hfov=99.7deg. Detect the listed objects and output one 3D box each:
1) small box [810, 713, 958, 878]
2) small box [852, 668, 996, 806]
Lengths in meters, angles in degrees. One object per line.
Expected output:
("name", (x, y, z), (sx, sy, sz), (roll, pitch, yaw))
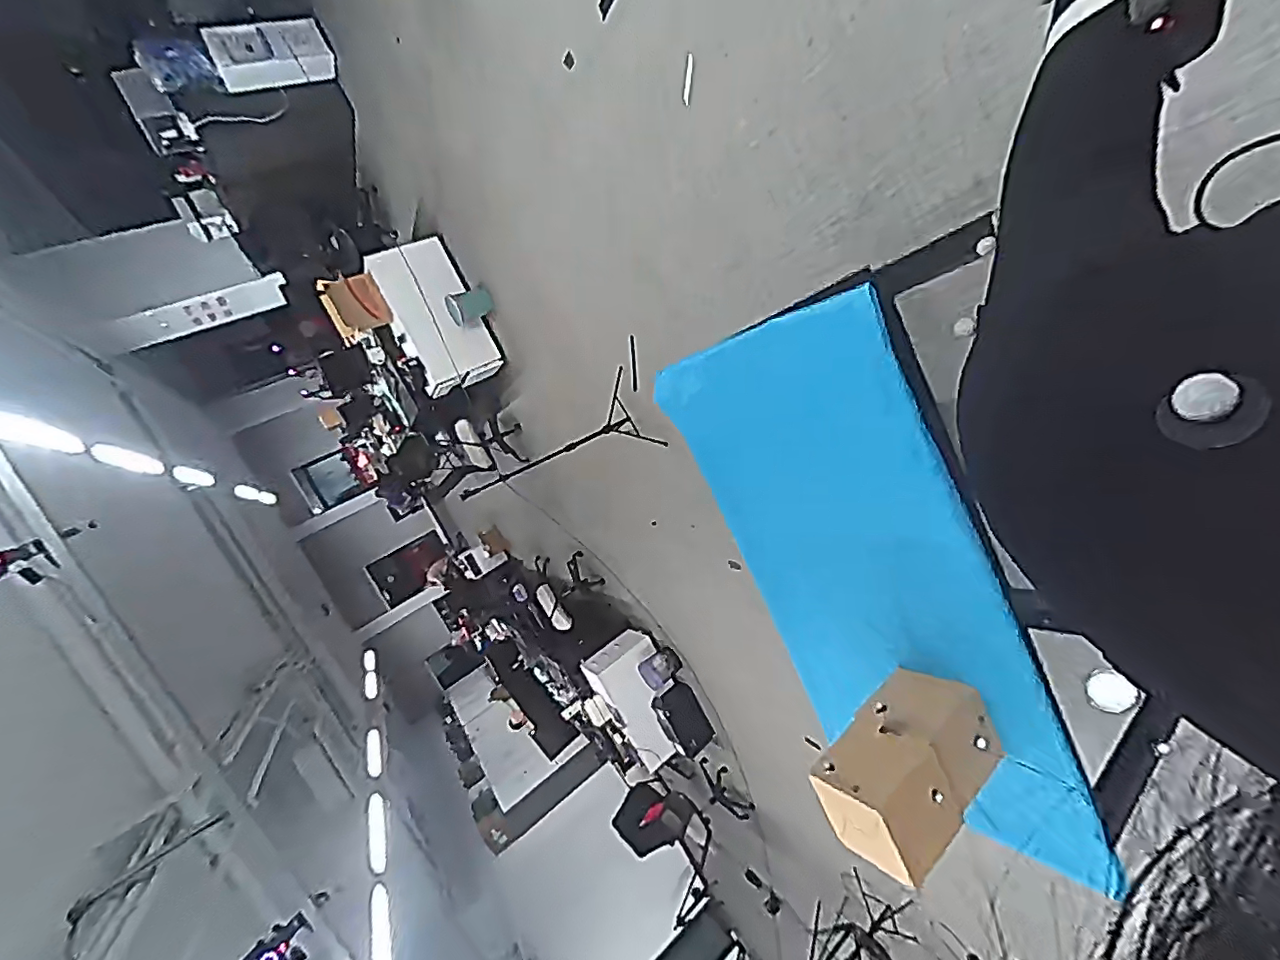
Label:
("small box", (0.452, 0.586, 1.020), (0.168, 0.176, 0.179), (-7, 110, 63))
("small box", (0.578, 0.513, 1.103), (0.179, 0.176, 0.168), (-6, 113, 61))
